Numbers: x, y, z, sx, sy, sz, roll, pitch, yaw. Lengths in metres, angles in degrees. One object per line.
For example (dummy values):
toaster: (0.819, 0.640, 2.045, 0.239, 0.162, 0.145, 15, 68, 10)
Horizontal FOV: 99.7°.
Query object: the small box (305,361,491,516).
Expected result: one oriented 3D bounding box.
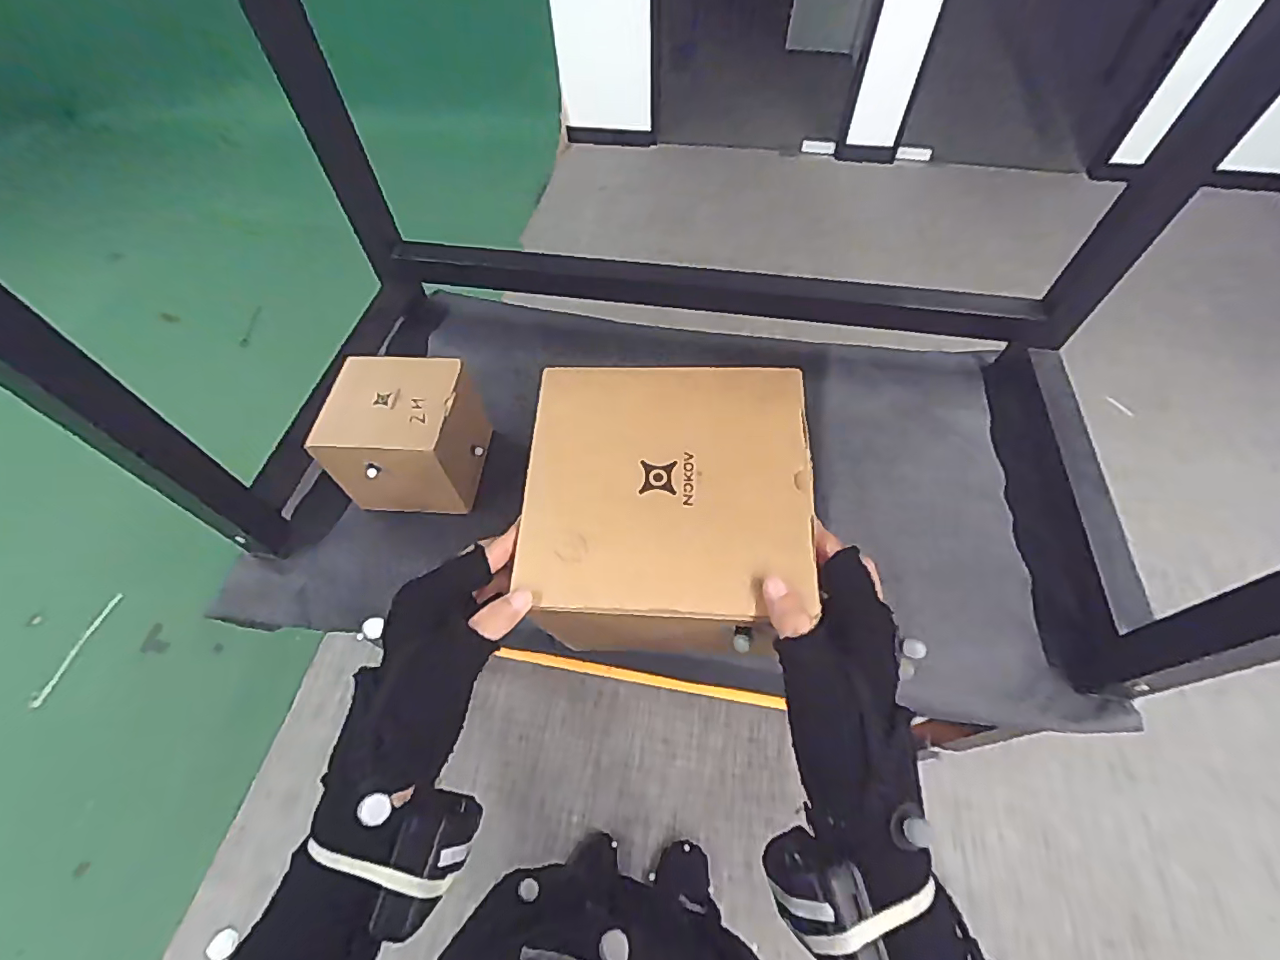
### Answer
small box: (-0.343, -0.058, 0.807, 0.179, 0.176, 0.168, 3, 58, 3)
